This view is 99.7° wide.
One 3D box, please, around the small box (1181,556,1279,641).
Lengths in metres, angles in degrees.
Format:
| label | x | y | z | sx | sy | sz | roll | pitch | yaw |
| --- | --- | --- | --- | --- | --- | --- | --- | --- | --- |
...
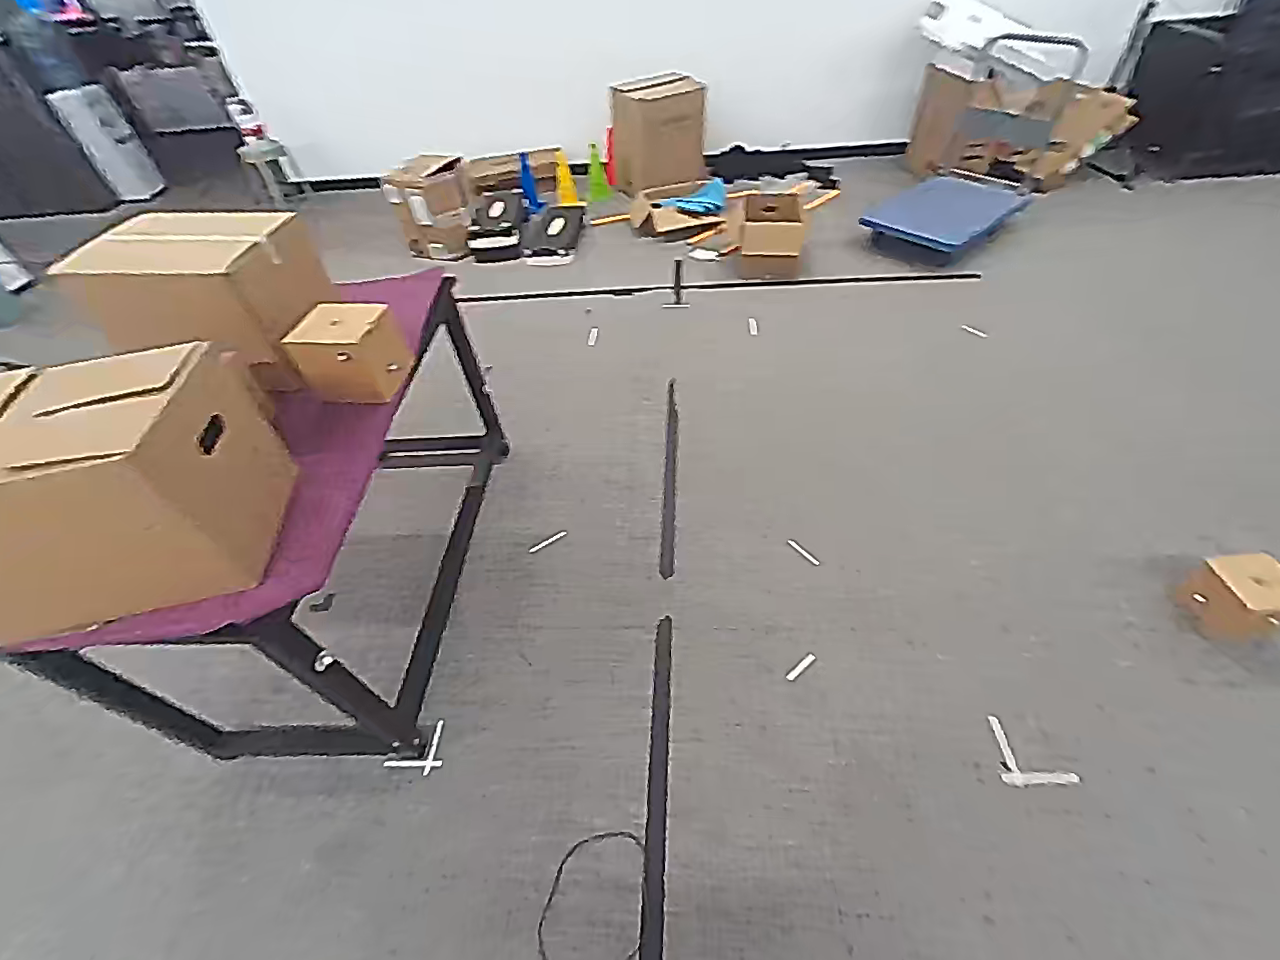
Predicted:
| label | x | y | z | sx | sy | sz | roll | pitch | yaw |
| --- | --- | --- | --- | --- | --- | --- | --- | --- | --- |
| small box | 1.636 | 0.323 | 1.462 | 0.179 | 0.176 | 0.168 | -3 | 47 | 2 |
